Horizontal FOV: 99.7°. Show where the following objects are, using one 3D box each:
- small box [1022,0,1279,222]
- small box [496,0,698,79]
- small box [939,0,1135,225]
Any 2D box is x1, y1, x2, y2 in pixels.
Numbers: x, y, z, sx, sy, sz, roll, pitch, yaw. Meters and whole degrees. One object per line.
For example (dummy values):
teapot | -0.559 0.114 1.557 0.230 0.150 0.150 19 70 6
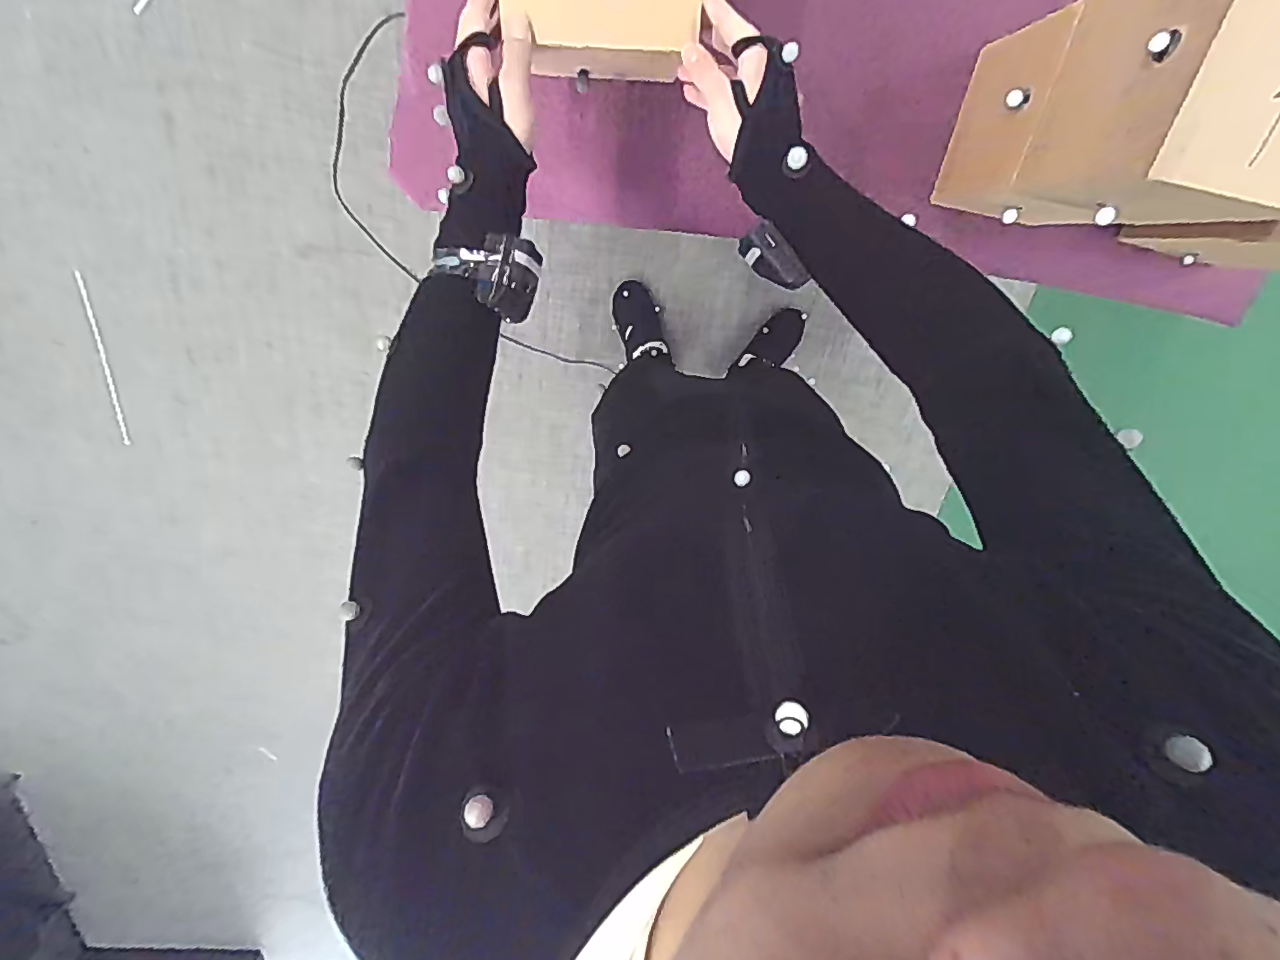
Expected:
small box | 0.495 -0.341 0.482 0.168 0.176 0.179 9 114 -6
small box | -0.037 -0.478 0.475 0.168 0.176 0.179 0 120 -4
small box | 0.488 -0.407 0.632 0.168 0.176 0.179 8 113 -6
